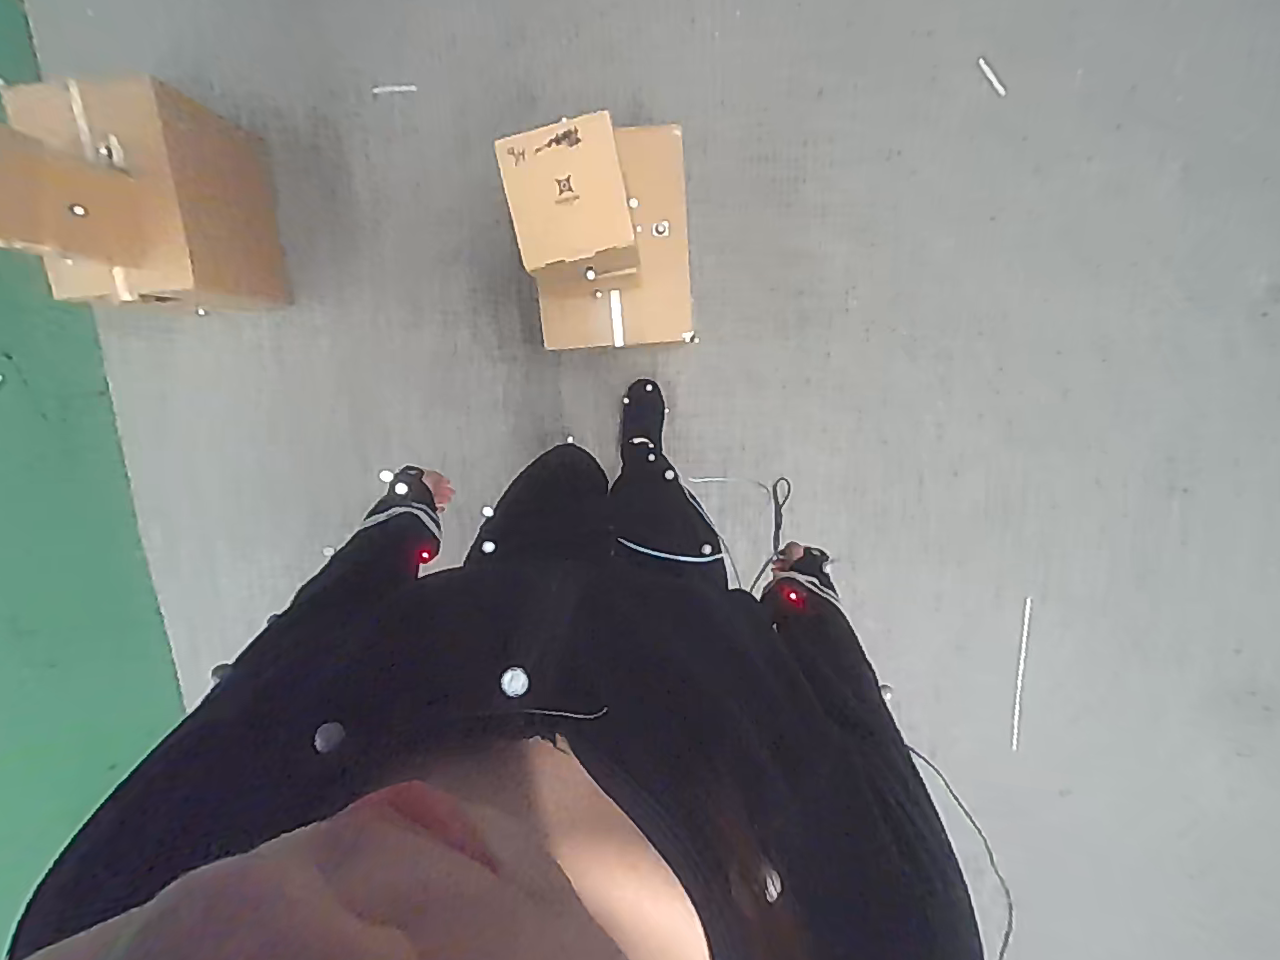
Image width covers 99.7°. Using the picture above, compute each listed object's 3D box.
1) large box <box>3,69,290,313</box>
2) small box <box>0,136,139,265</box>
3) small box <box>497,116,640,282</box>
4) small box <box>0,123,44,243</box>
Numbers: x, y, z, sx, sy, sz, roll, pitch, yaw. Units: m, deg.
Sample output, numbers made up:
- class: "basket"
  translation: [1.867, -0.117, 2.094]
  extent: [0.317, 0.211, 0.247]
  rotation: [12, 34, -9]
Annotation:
- class: "large box"
  translation: [-1.075, -0.615, 1.230]
  extent: [0.320, 0.320, 0.408]
  rotation: [-3, 101, 2]
- class: "small box"
  translation: [-1.086, -0.515, 1.003]
  extent: [0.168, 0.176, 0.179]
  rotation: [8, 102, 1]
- class: "small box"
  translation: [-0.097, -0.410, 0.827]
  extent: [0.168, 0.176, 0.179]
  rotation: [-11, 102, 5]
- class: "small box"
  translation: [-1.097, -0.491, 0.842]
  extent: [0.168, 0.176, 0.179]
  rotation: [12, 103, 1]
